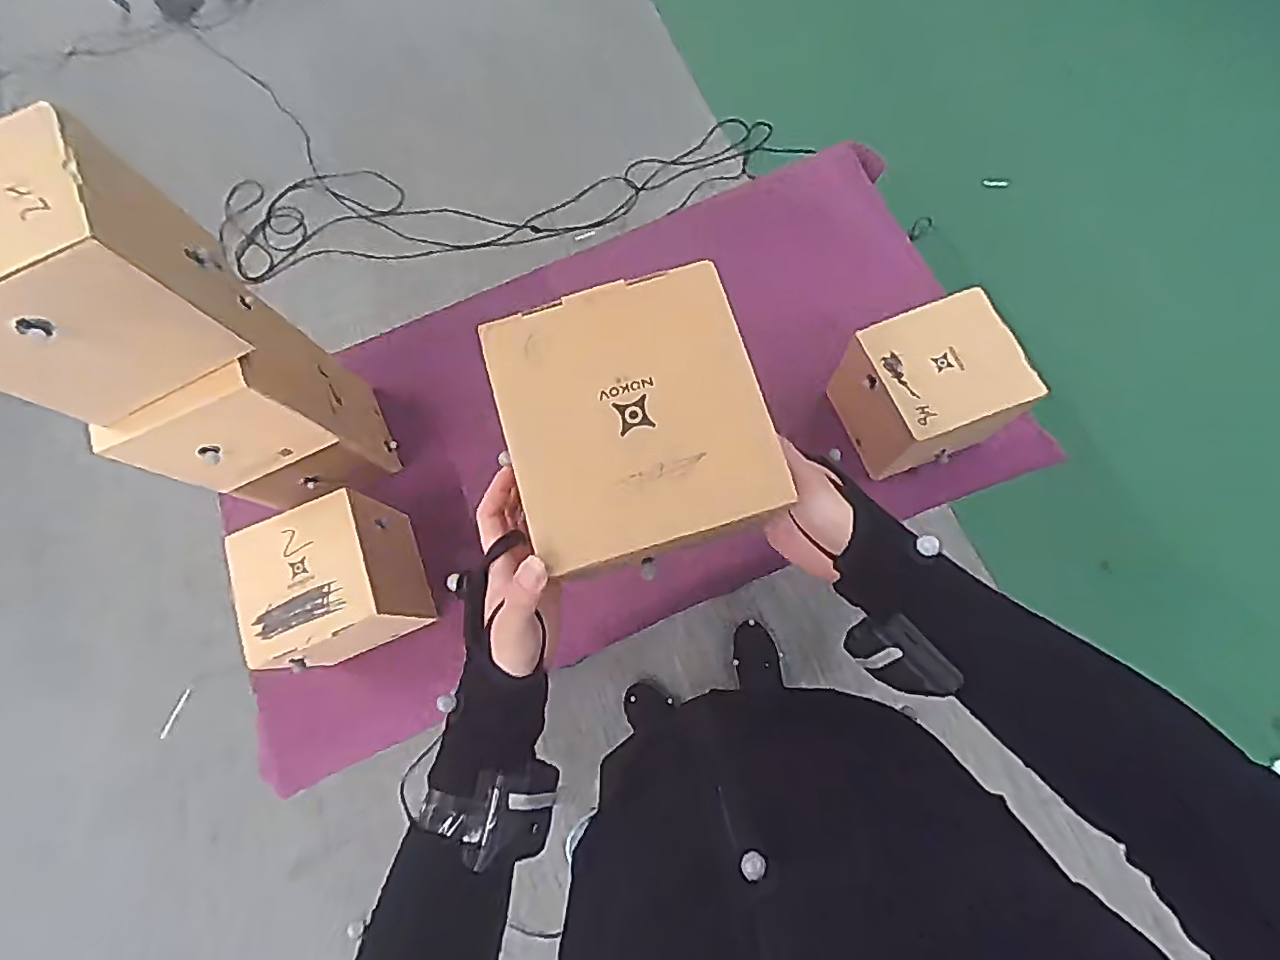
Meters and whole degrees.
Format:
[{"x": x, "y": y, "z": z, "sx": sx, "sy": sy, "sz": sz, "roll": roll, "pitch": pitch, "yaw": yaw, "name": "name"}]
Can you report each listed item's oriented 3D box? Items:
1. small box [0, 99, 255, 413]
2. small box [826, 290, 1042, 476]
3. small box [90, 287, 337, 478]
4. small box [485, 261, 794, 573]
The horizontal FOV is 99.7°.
[{"x": -0.515, "y": -0.189, "z": 0.500, "sx": 0.179, "sy": 0.176, "sz": 0.168, "roll": -29, "pitch": 74, "yaw": -4, "name": "small box"}, {"x": 0.389, "y": -0.125, "z": 0.753, "sx": 0.179, "sy": 0.176, "sz": 0.168, "roll": -20, "pitch": 72, "yaw": -1, "name": "small box"}, {"x": -0.503, "y": -0.117, "z": 0.650, "sx": 0.168, "sy": 0.176, "sz": 0.179, "roll": -26, "pitch": 74, "yaw": -3, "name": "small box"}, {"x": -0.003, "y": -0.032, "z": 0.426, "sx": 0.168, "sy": 0.176, "sz": 0.179, "roll": -16, "pitch": 79, "yaw": -2, "name": "small box"}]
